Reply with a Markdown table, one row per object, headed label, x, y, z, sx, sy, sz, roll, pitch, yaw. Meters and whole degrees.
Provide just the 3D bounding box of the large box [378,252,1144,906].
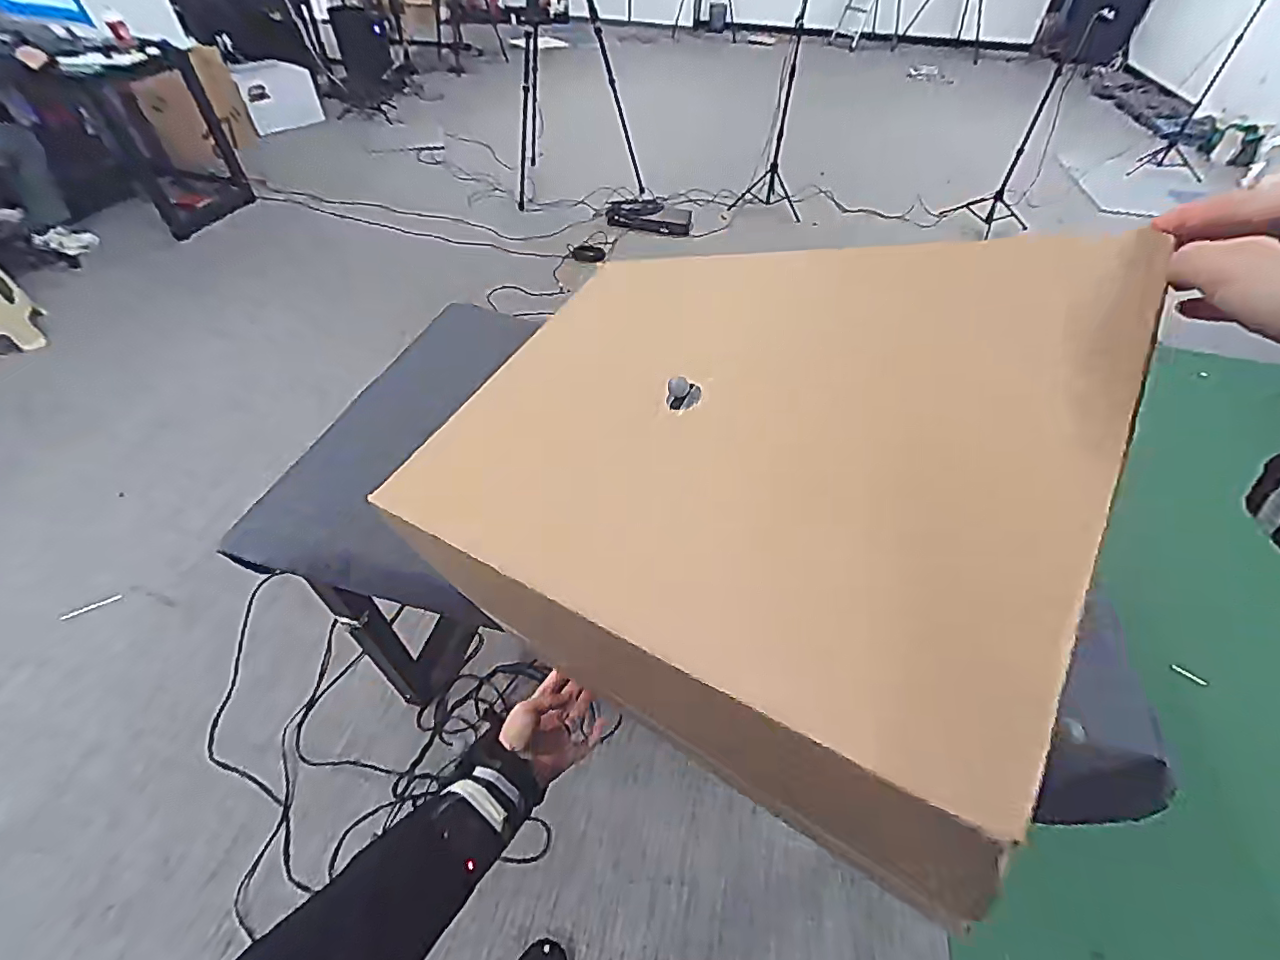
| label | x | y | z | sx | sy | sz | roll | pitch | yaw |
| --- | --- | --- | --- | --- | --- | --- | --- | --- | --- |
| large box | 0.087 | 0.048 | 0.438 | 0.408 | 0.320 | 0.320 | 15 | 57 | 37 |
